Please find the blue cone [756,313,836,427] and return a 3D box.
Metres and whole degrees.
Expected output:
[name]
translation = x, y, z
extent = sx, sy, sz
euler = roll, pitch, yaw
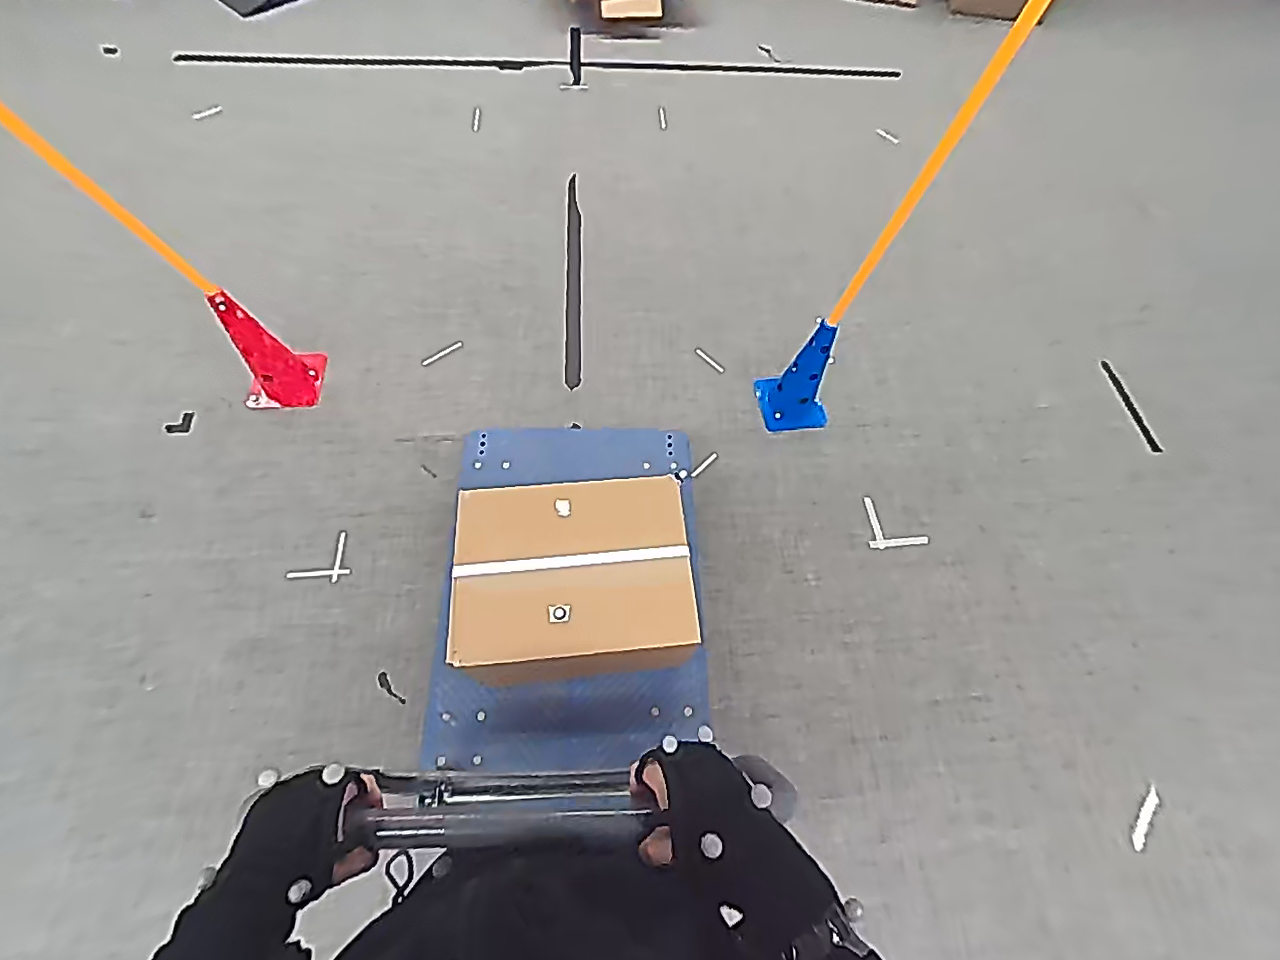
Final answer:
[blue cone]
translation = 0.485, -0.327, 1.565
extent = 0.193, 0.380, 0.192
euler = -5, 62, -7
